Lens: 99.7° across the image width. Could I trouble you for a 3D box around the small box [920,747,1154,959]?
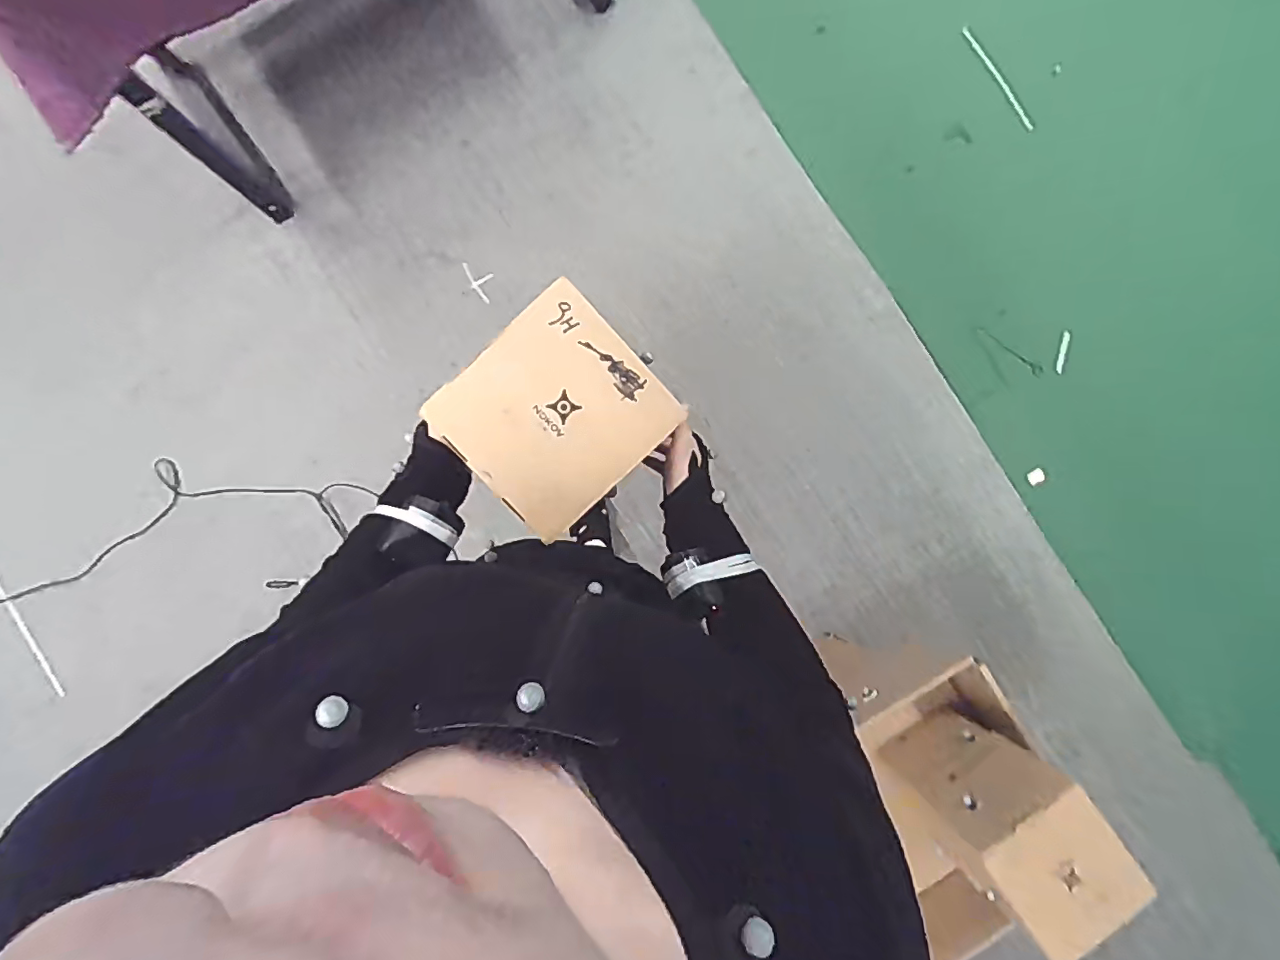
[{"bbox_3d":[0.550,0.519,0.779,0.168,0.176,0.179,-34,89,-2],"label":"small box"}]
